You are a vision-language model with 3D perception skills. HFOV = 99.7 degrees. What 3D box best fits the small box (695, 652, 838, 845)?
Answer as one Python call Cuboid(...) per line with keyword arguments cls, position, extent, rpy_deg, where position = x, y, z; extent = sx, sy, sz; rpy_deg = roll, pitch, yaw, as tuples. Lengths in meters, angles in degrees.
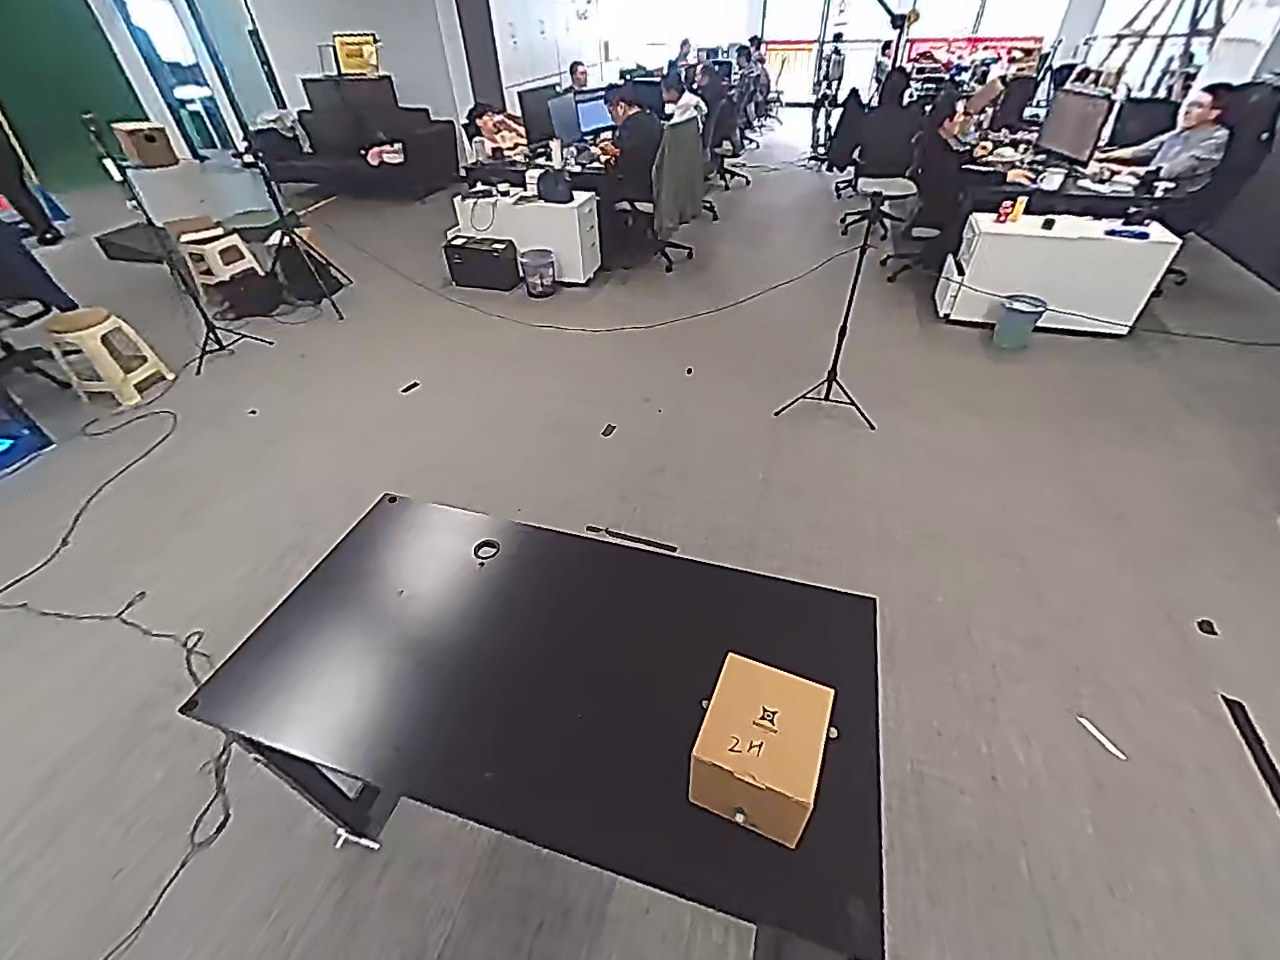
Cuboid(cls="small box", position=(0.185, 0.401, 0.816), extent=(0.168, 0.176, 0.179), rpy_deg=(15, 44, 20))
